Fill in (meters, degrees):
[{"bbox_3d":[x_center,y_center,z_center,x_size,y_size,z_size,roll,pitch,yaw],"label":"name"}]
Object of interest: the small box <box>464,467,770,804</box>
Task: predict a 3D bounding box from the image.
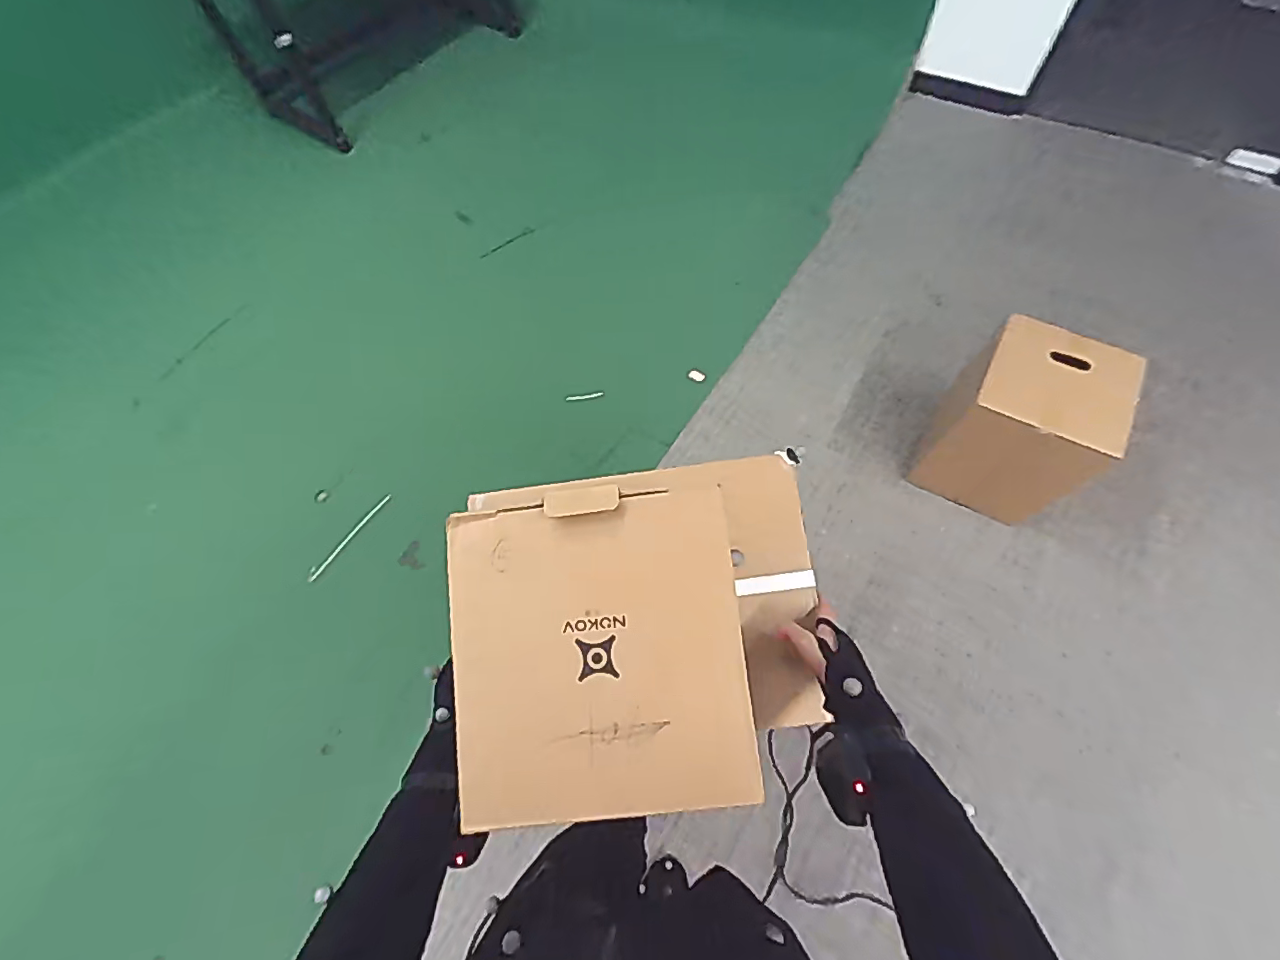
[{"bbox_3d":[-0.014,0.099,0.384,0.168,0.176,0.179,-6,79,3],"label":"small box"}]
